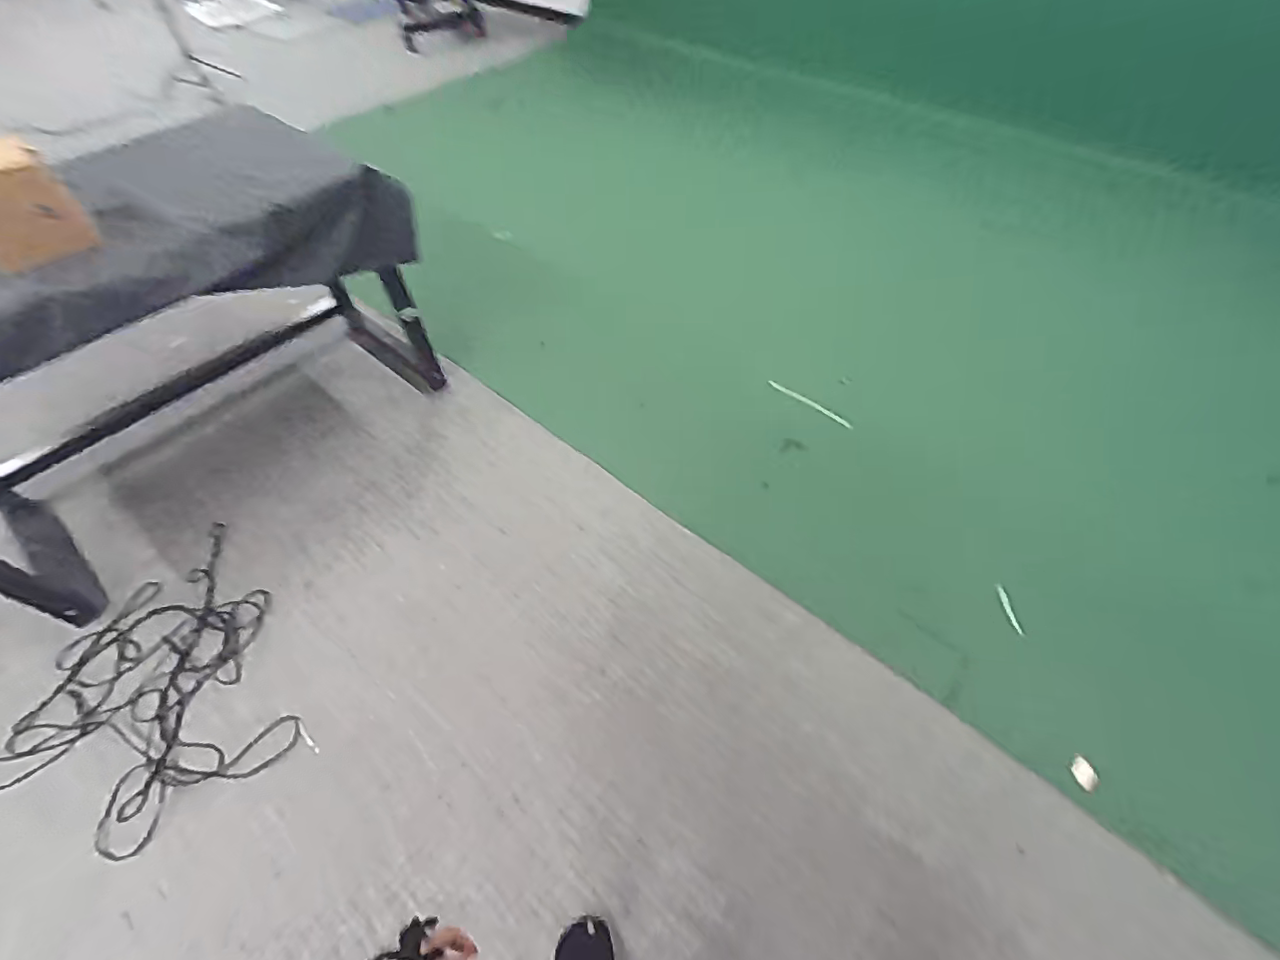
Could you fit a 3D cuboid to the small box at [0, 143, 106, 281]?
[{"bbox_3d":[-1.216,-0.528,1.069,0.179,0.176,0.168,-35,59,-21],"label":"small box"}]
